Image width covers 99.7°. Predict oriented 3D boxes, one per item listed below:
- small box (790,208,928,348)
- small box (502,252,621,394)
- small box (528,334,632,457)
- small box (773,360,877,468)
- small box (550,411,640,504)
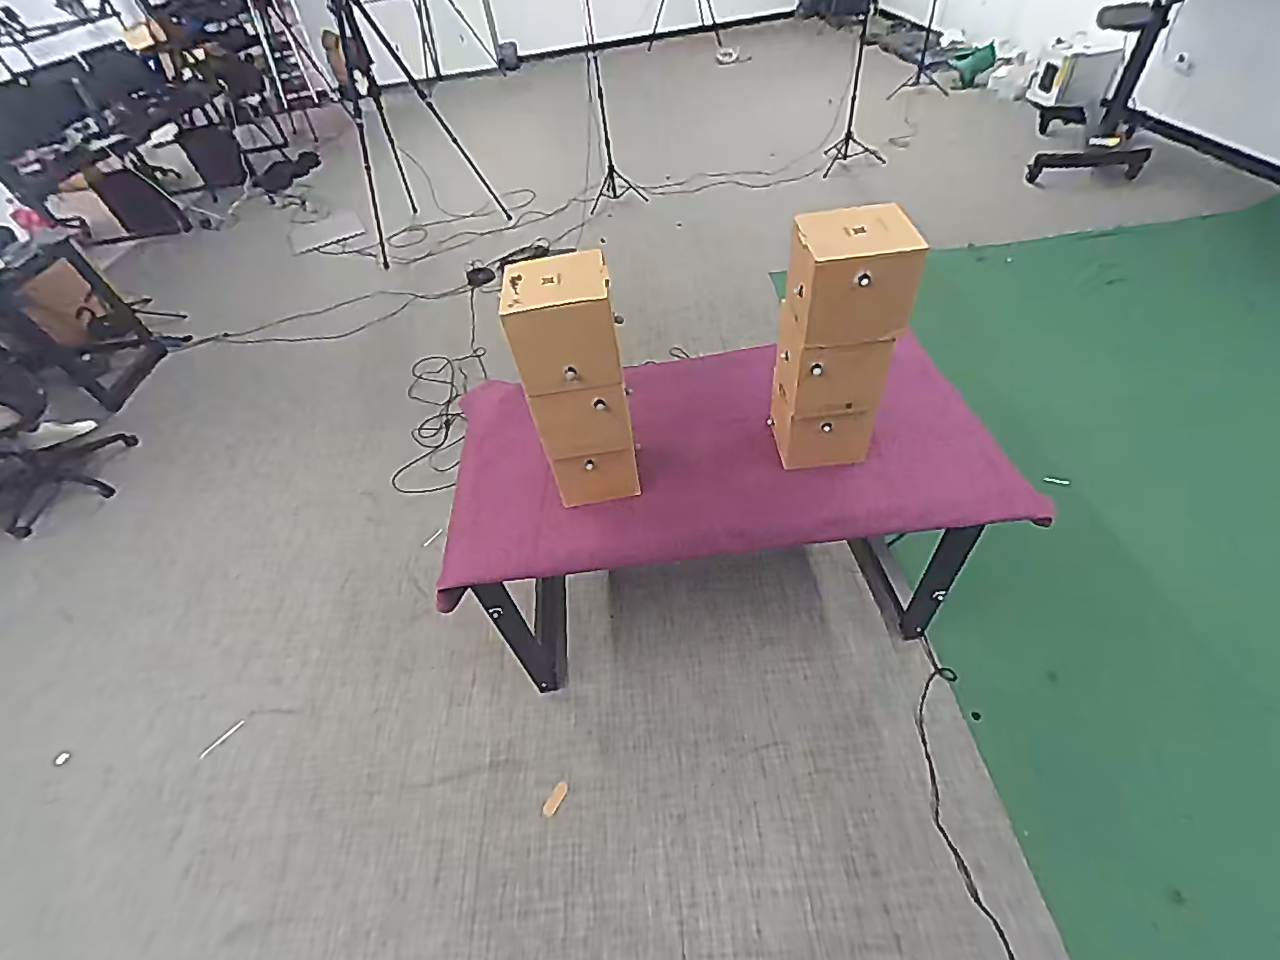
[{"bbox_3d":[0.363,-0.345,0.937,0.179,0.176,0.168,-4,49,5],"label":"small box"},{"bbox_3d":[-0.127,-0.271,0.945,0.179,0.176,0.168,-8,48,0],"label":"small box"},{"bbox_3d":[-0.111,-0.166,1.069,0.179,0.176,0.168,-8,48,2],"label":"small box"},{"bbox_3d":[0.396,-0.141,1.192,0.179,0.176,0.168,-5,48,3],"label":"small box"},{"bbox_3d":[-0.097,-0.067,1.202,0.179,0.176,0.168,-9,48,1],"label":"small box"}]
